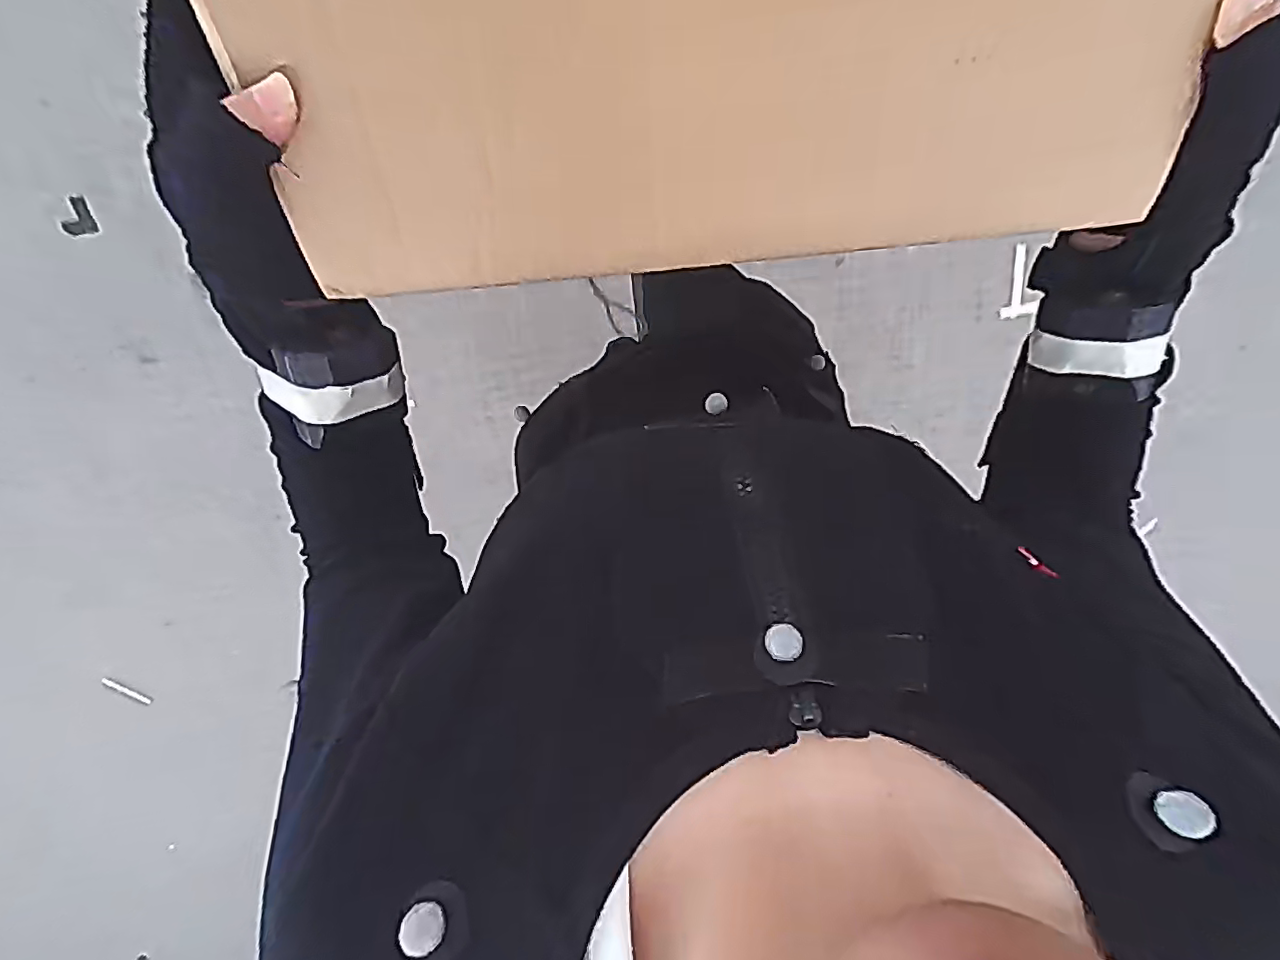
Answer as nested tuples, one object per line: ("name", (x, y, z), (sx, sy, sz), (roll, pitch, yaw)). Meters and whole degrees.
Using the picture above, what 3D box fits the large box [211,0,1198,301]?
("large box", (0.023, -0.325, 0.301), (0.408, 0.320, 0.320), (-6, 127, 0))
